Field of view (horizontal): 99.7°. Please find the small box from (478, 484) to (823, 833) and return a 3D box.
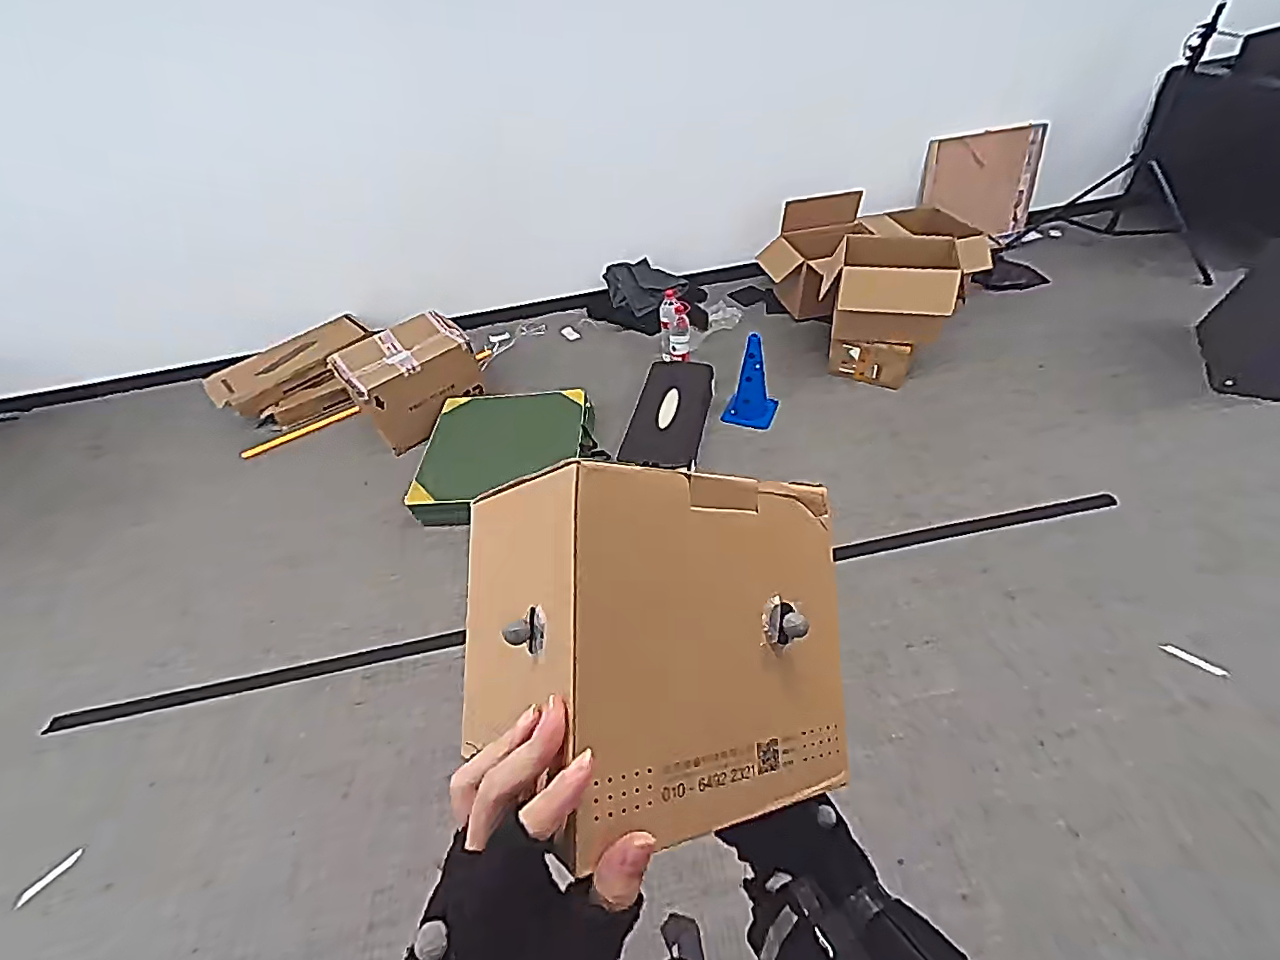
[{"bbox_3d":[-0.001,0.101,0.353,0.168,0.179,0.176,6,78,-32],"label":"small box"}]
